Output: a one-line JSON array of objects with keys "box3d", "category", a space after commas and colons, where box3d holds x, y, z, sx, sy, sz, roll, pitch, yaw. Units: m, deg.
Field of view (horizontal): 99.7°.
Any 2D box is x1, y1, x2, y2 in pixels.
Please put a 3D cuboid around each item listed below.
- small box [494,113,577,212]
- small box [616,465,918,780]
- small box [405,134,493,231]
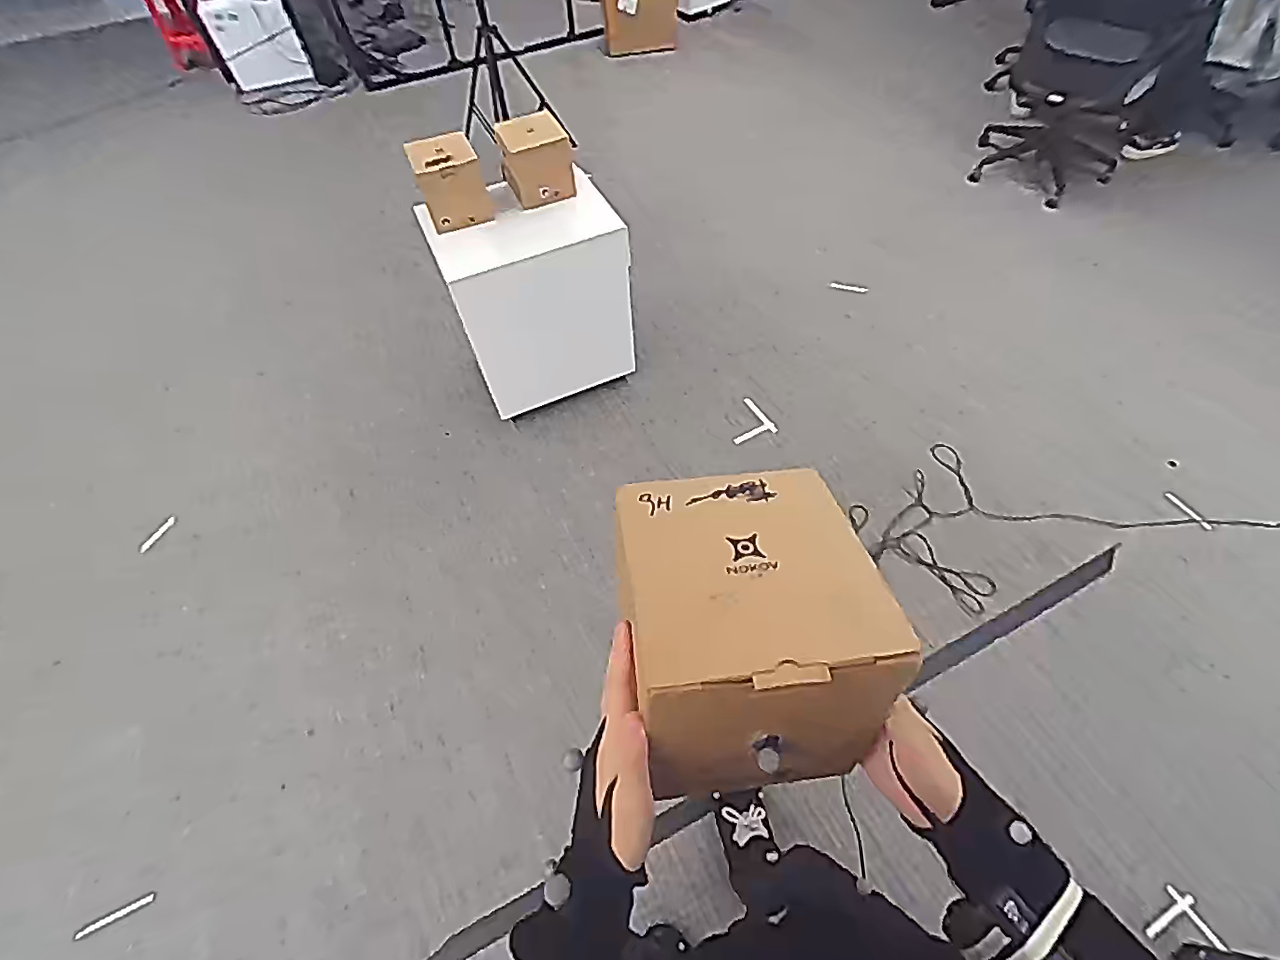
[{"box3d": [-0.294, -0.901, 1.541, 0.168, 0.176, 0.179, -24, 61, -11], "category": "small box"}, {"box3d": [0.073, 0.112, 0.420, 0.168, 0.176, 0.179, -5, 42, -6], "category": "small box"}, {"box3d": [-0.522, -0.811, 1.490, 0.168, 0.176, 0.179, -21, 58, -11], "category": "small box"}]
